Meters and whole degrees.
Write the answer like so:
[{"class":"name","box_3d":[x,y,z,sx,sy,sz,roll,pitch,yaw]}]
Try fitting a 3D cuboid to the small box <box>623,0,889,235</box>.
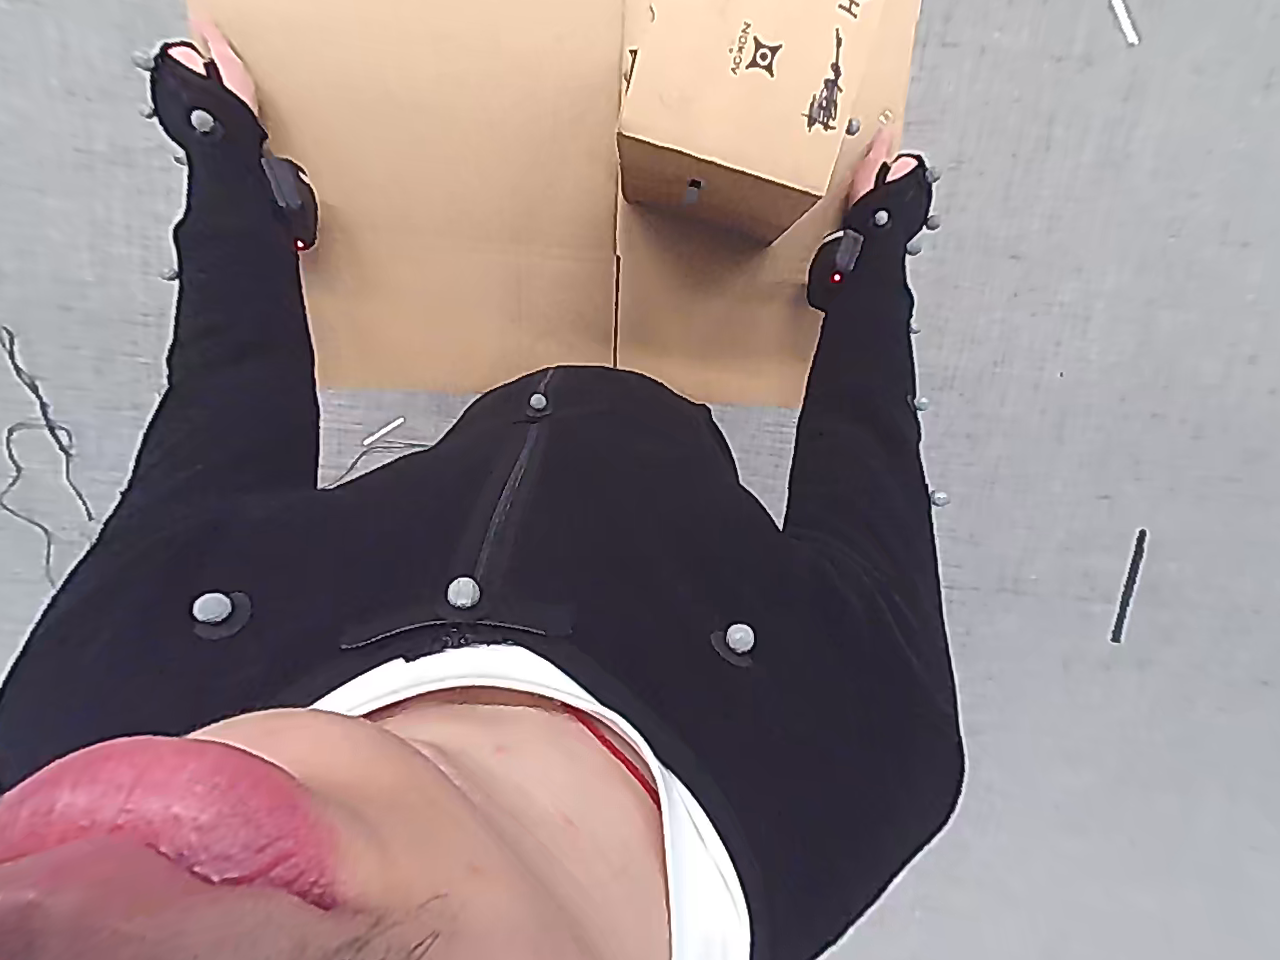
[{"class":"small box","box_3d":[0.092,-0.347,0.499,0.179,0.176,0.168,16,102,-3]}]
